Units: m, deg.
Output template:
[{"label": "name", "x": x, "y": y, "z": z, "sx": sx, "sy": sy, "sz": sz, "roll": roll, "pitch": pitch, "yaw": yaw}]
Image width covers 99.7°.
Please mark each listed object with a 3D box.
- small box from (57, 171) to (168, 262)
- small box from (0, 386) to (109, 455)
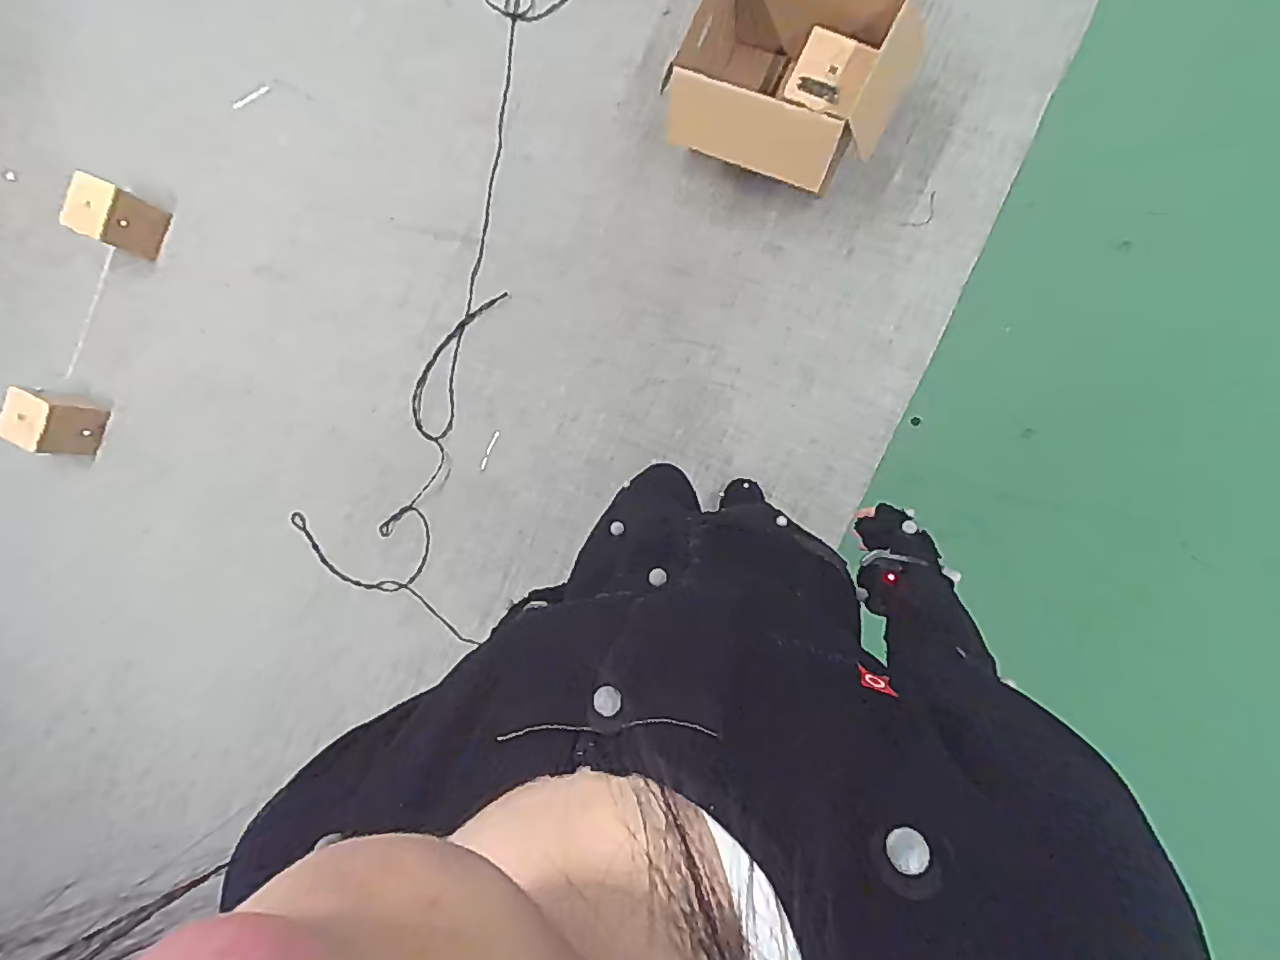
[{"label": "small box", "x": -1.651, "y": -0.823, "z": 1.703, "sx": 0.168, "sy": 0.176, "sz": 0.179, "roll": 23, "pitch": 95, "yaw": 9}, {"label": "small box", "x": -1.898, "y": -0.185, "z": 1.751, "sx": 0.179, "sy": 0.176, "sz": 0.168, "roll": 23, "pitch": 94, "yaw": 9}]
